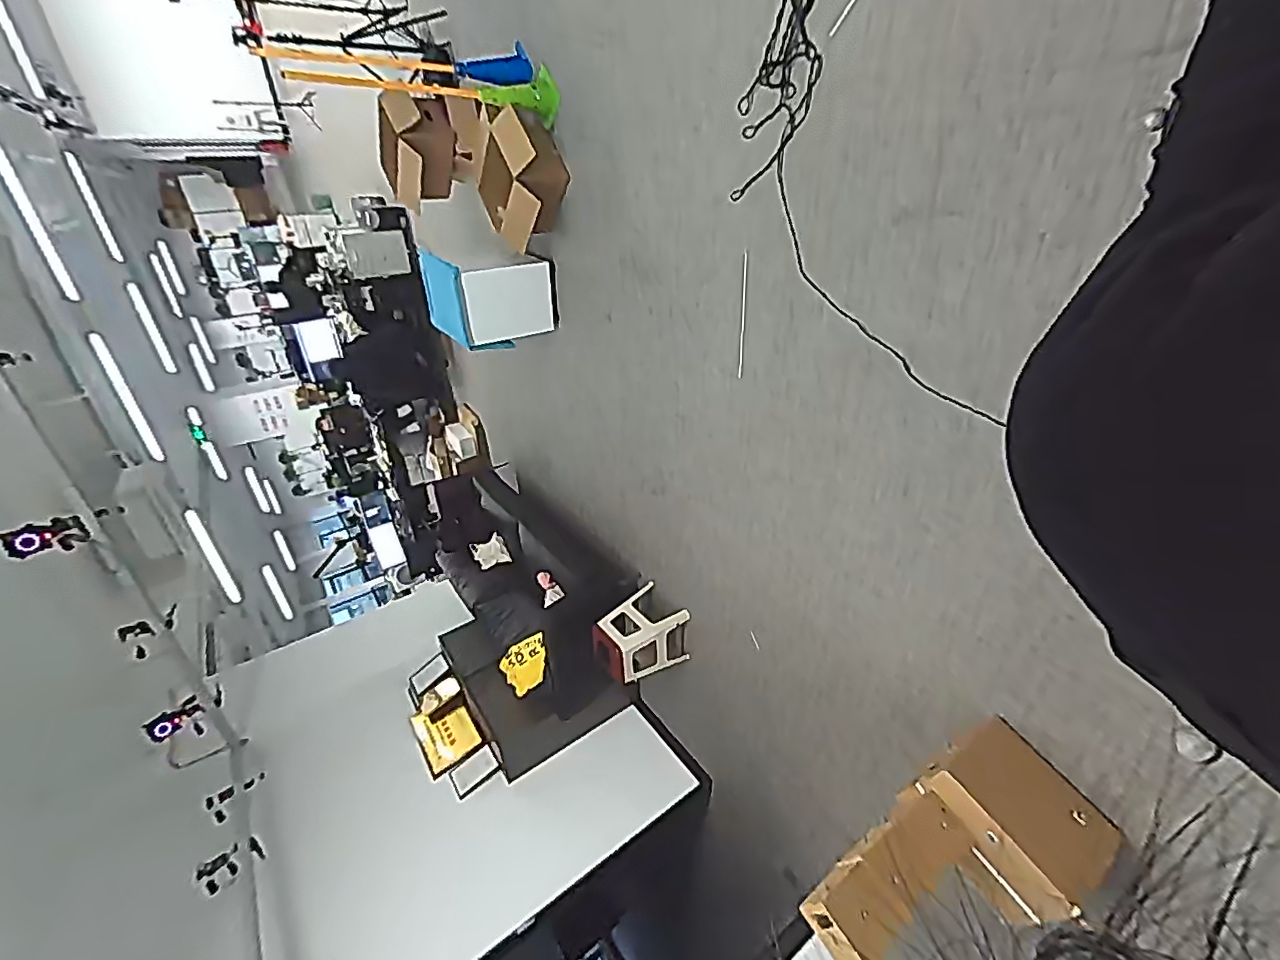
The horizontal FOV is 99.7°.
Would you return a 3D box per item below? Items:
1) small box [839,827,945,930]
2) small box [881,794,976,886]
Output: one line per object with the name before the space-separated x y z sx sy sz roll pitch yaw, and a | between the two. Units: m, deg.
small box | 0.709 1.117 1.527 0.179 0.176 0.168 50 147 30
small box | 0.846 1.070 1.599 0.168 0.176 0.179 49 146 31
